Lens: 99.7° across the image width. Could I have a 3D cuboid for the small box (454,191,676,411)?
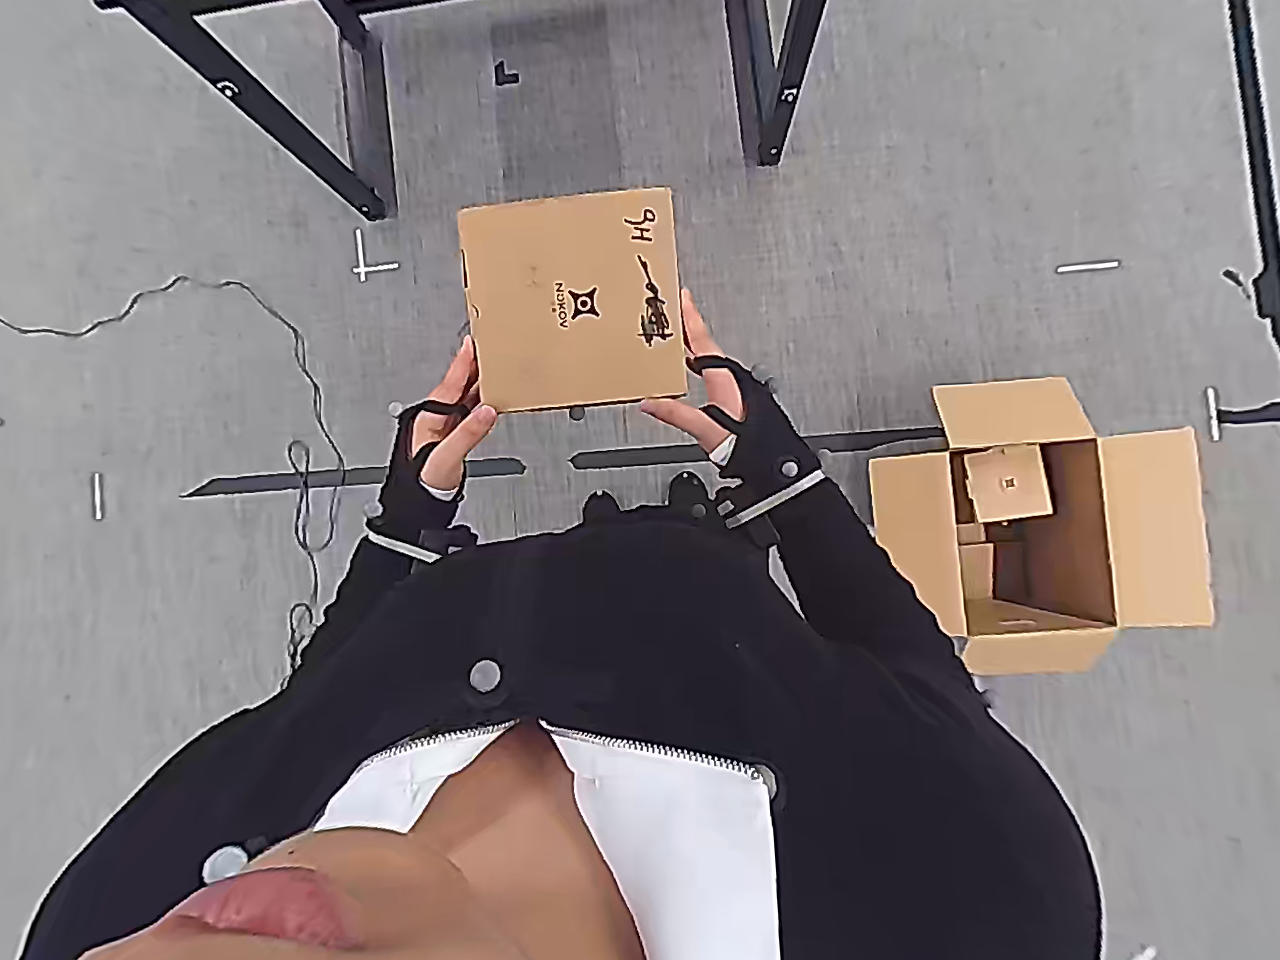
[{"bbox_3d":[-0.058,-0.155,0.527,0.179,0.176,0.168,-5,97,2],"label":"small box"}]
